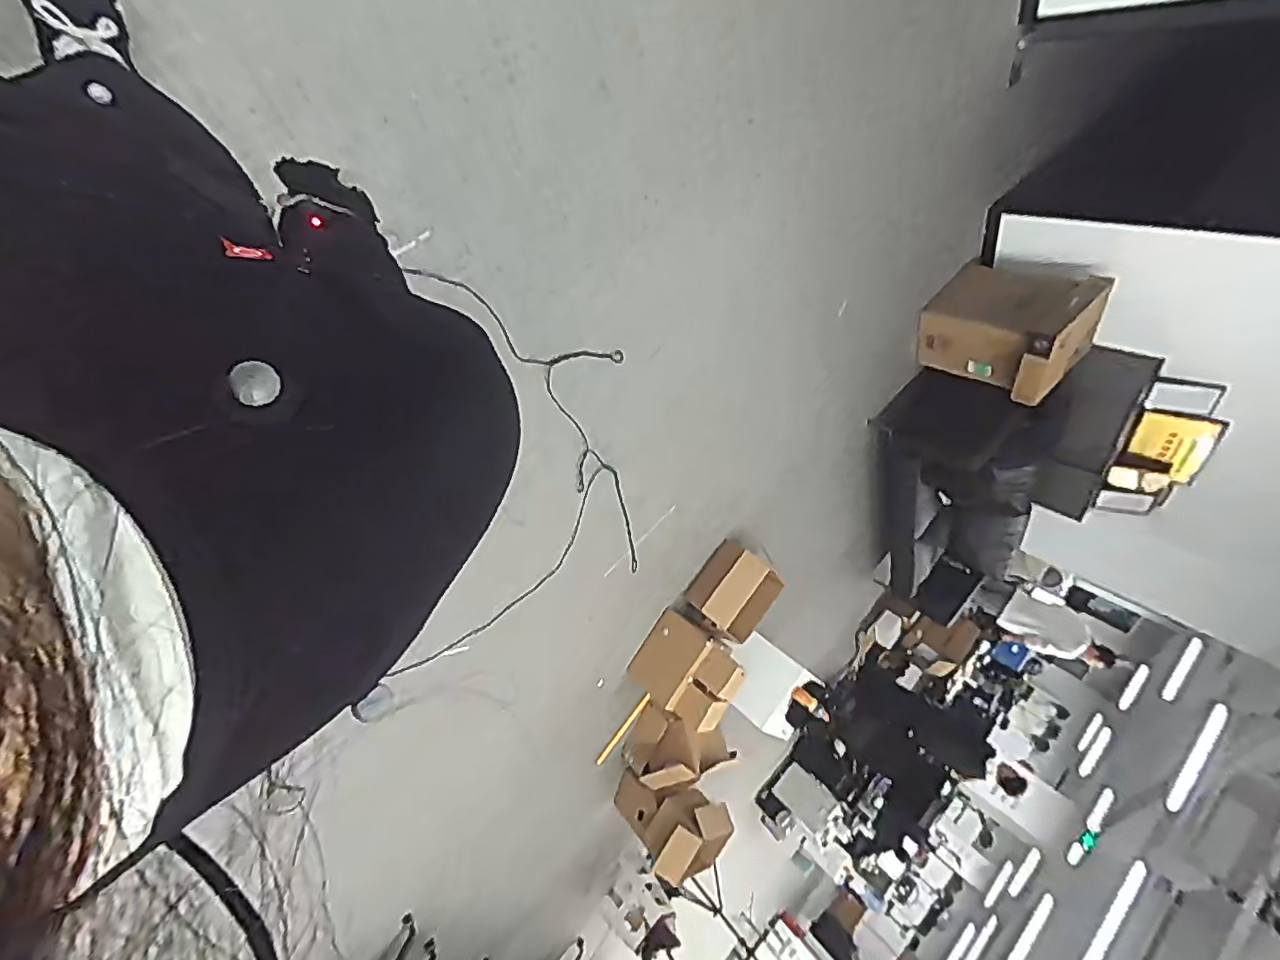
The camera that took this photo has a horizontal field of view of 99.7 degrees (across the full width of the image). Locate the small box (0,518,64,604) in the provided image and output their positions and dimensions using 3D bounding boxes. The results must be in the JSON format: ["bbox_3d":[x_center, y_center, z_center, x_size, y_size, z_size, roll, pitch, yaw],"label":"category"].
[{"bbox_3d":[-1.258,0.181,1.021,0.179,0.176,0.168,-46,139,-12],"label":"small box"}]

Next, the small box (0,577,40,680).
[{"bbox_3d":[-1.175,0.266,0.907,0.179,0.176,0.168,-44,138,-14],"label":"small box"}]
